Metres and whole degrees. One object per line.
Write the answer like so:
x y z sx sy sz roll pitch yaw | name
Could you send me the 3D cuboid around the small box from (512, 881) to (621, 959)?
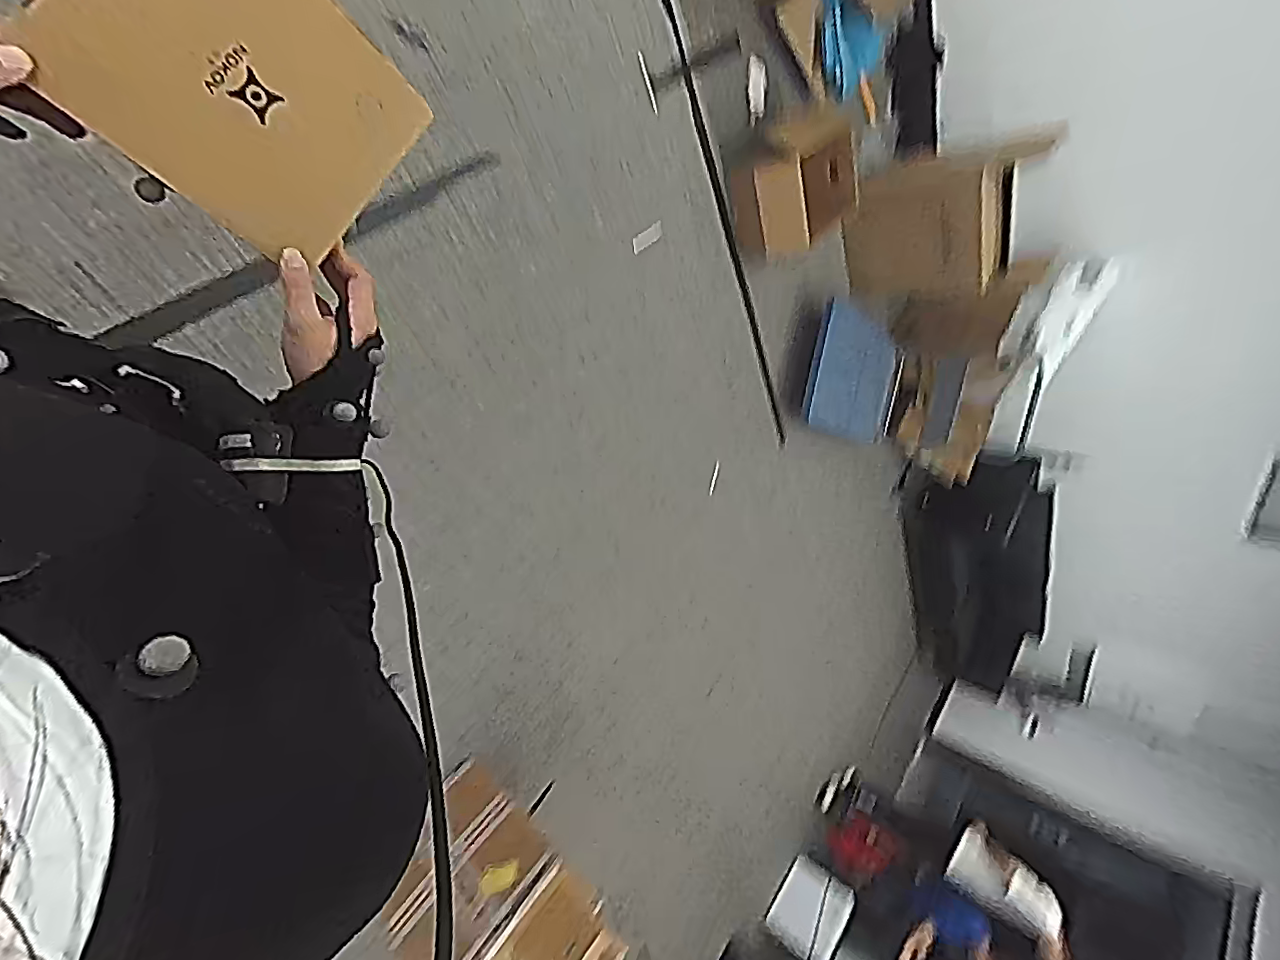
-0.183 1.153 1.341 0.179 0.176 0.168 -44 126 -28 | small box
